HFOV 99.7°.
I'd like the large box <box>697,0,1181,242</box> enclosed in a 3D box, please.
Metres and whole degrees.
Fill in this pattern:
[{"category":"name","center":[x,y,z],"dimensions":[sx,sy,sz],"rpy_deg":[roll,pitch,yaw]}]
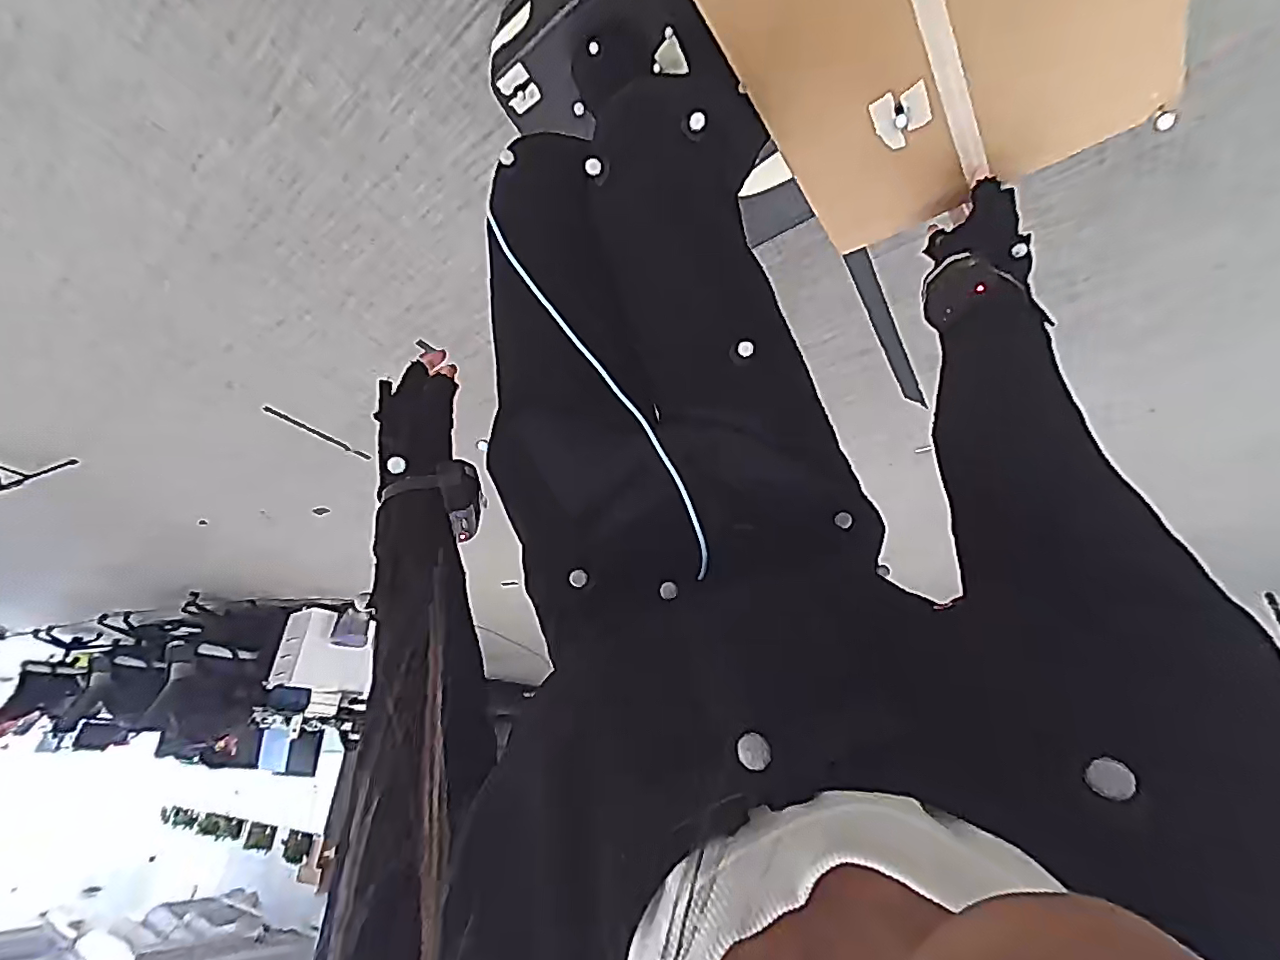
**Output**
[{"category":"large box","center":[0.259,-0.534,0.513],"dimensions":[0.320,0.320,0.408],"rpy_deg":[-13,150,39]}]
